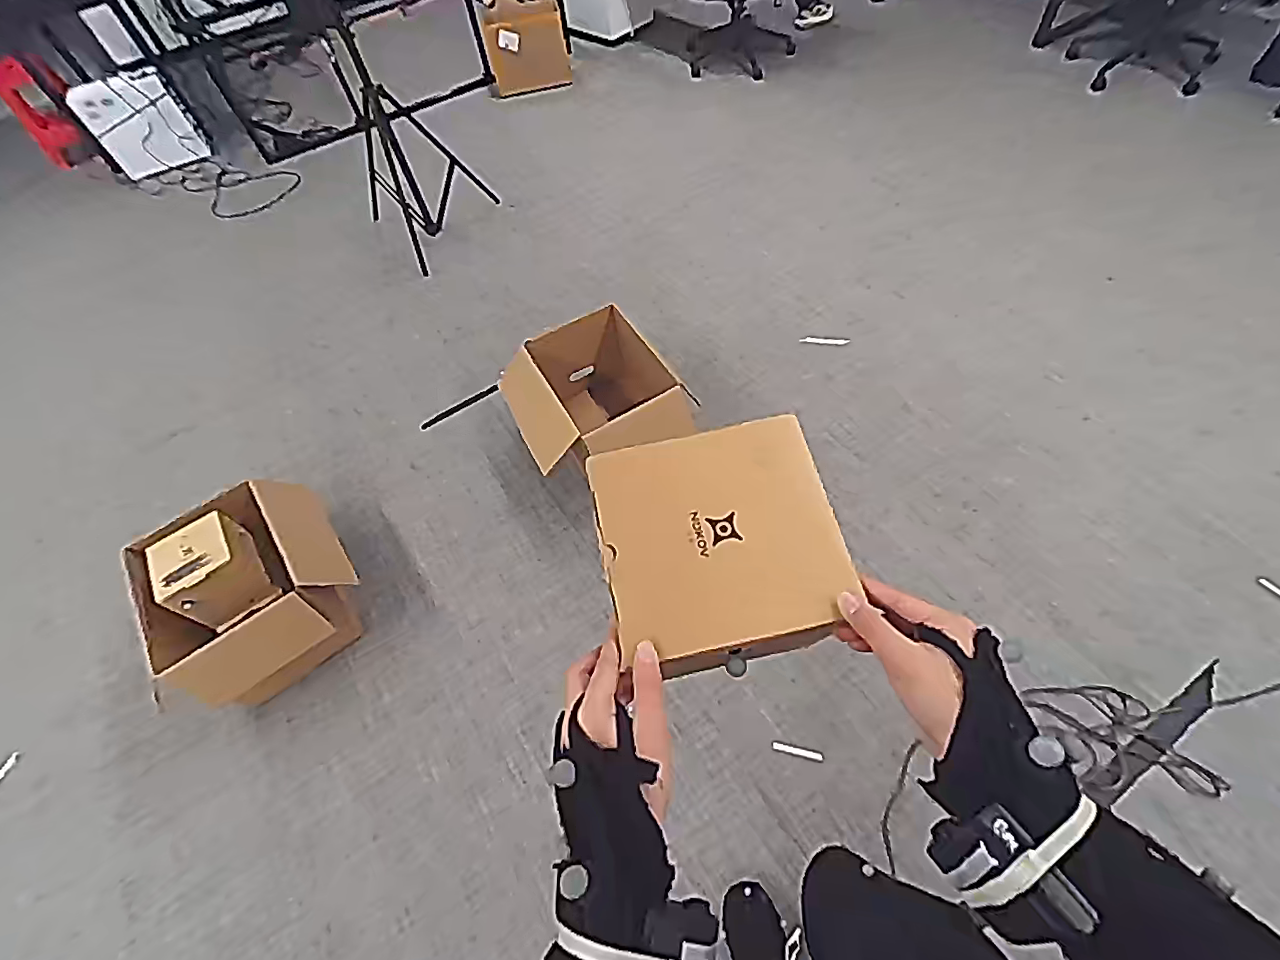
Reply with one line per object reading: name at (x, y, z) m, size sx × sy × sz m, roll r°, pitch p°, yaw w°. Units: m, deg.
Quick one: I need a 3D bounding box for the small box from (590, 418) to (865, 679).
small box at (0.062, 0.070, 0.478) m, size 0.179 × 0.176 × 0.168 m, roll -12°, pitch 65°, yaw -2°
